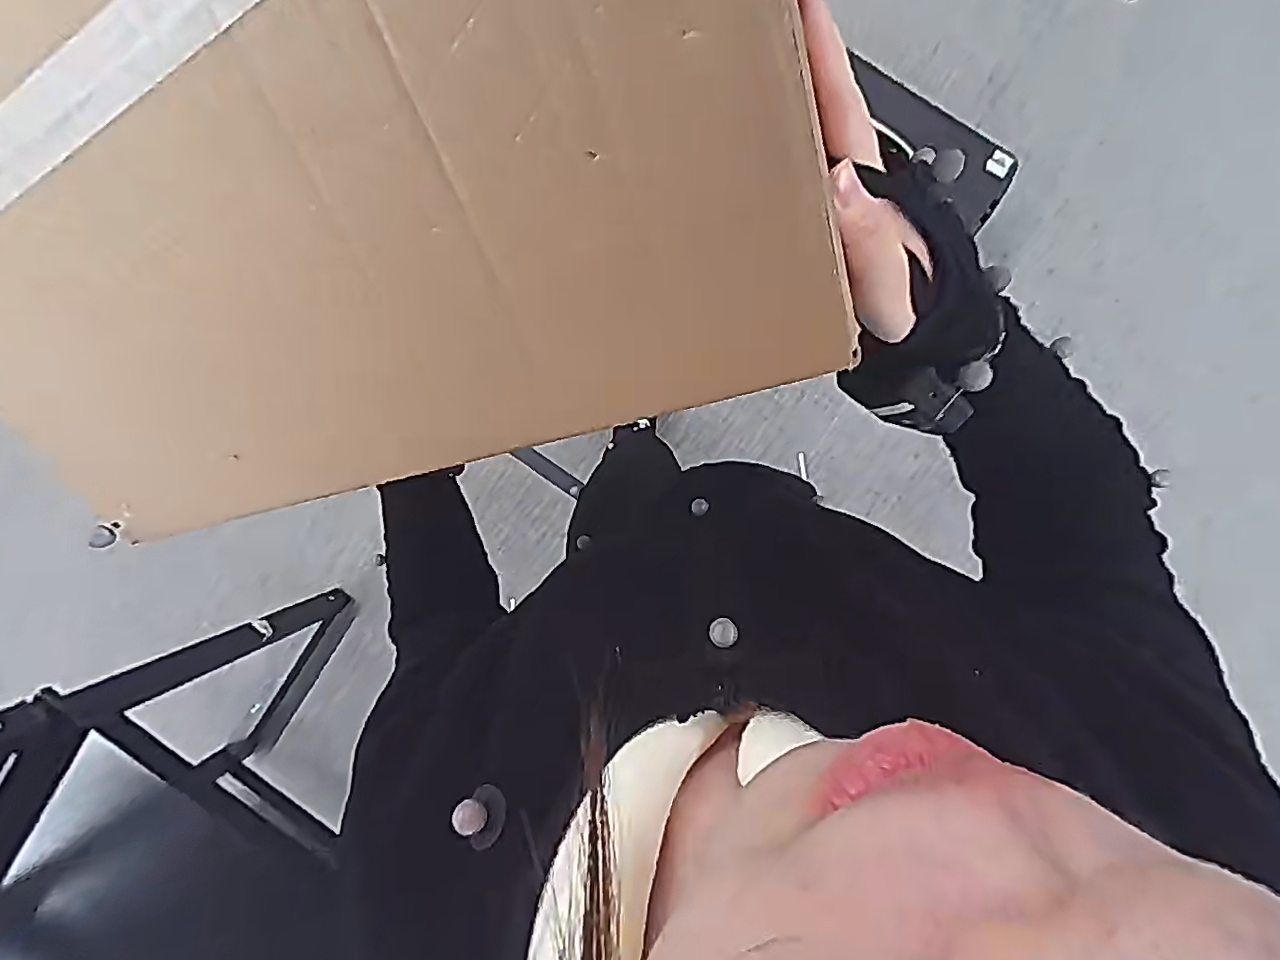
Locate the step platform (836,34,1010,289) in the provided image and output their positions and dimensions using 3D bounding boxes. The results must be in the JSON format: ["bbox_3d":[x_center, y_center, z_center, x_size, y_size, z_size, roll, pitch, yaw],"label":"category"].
[{"bbox_3d":[0.522,-0.798,1.323,0.684,0.204,0.286,40,94,3],"label":"step platform"}]

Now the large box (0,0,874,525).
[{"bbox_3d":[-0.122,-0.214,0.298,0.408,0.320,0.320,-11,116,23],"label":"large box"}]
